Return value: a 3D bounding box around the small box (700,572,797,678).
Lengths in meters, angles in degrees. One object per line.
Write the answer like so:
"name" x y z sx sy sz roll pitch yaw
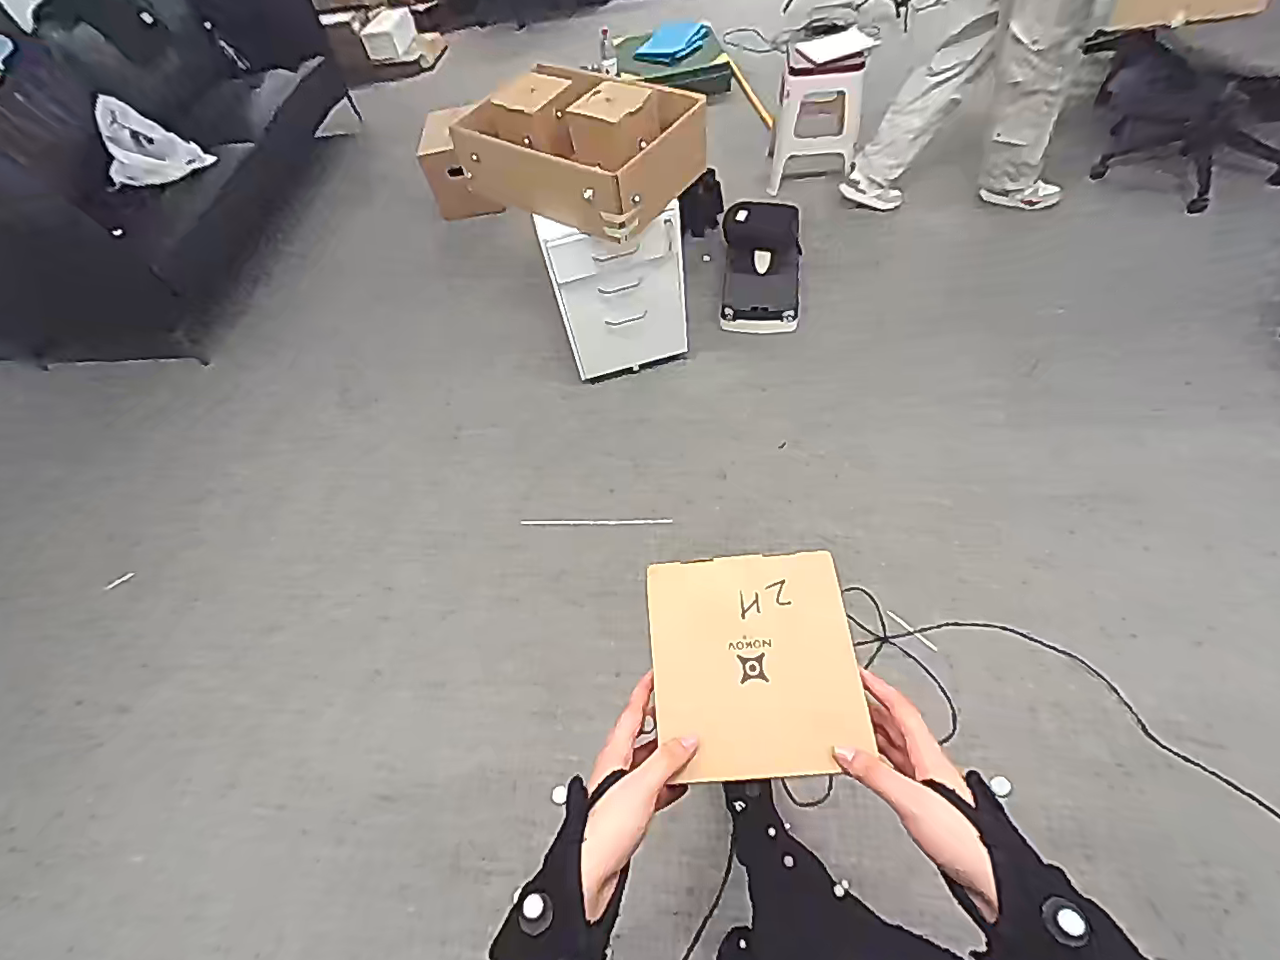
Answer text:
"small box" 0.271 0.369 1.362 0.179 0.176 0.168 -30 58 -12
